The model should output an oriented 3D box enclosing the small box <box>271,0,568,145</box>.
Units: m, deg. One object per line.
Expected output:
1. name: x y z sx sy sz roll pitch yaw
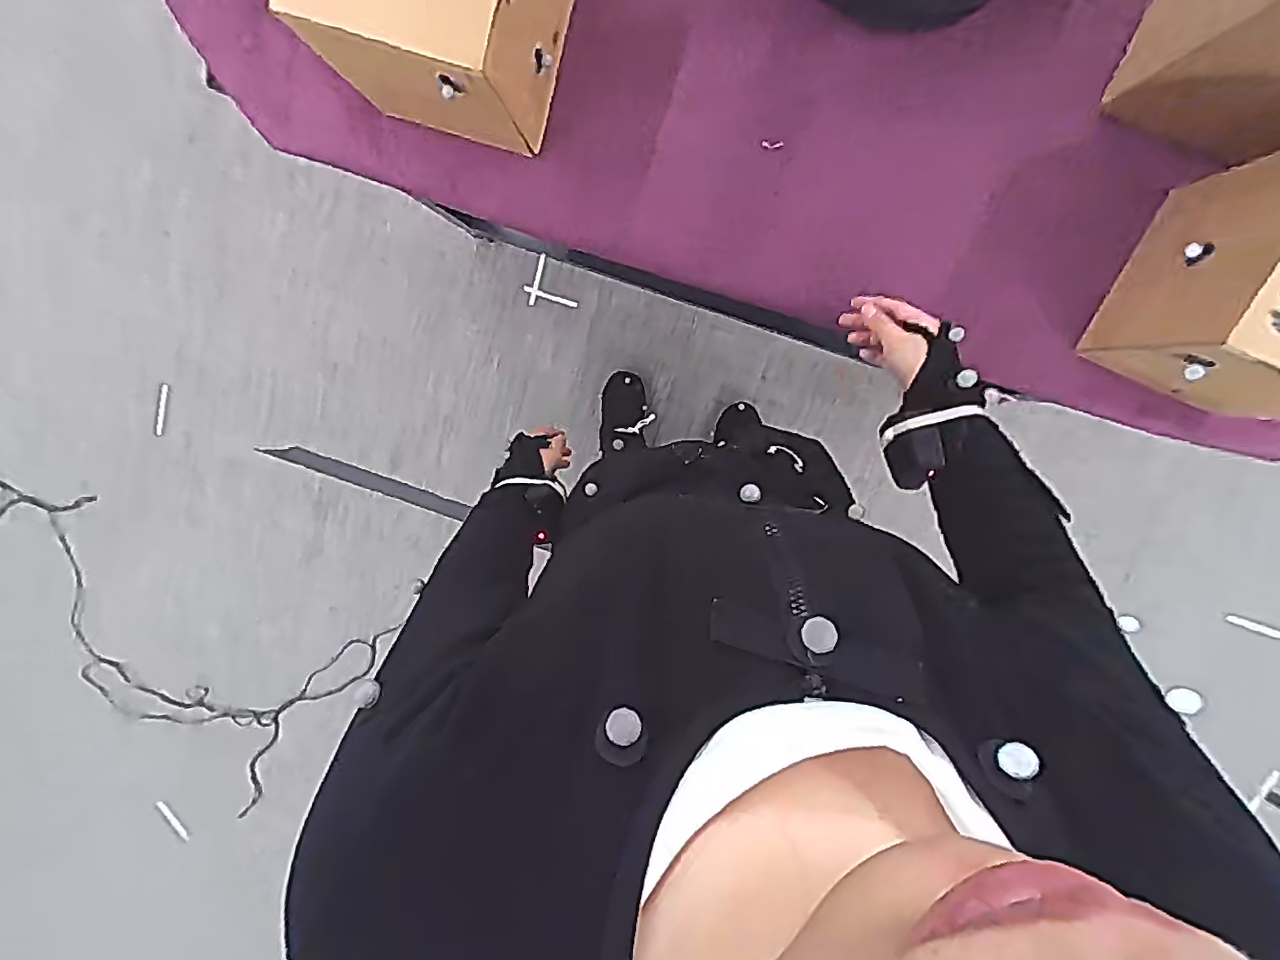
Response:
1. small box: -0.178 -0.433 0.481 0.179 0.176 0.168 16 101 -1
